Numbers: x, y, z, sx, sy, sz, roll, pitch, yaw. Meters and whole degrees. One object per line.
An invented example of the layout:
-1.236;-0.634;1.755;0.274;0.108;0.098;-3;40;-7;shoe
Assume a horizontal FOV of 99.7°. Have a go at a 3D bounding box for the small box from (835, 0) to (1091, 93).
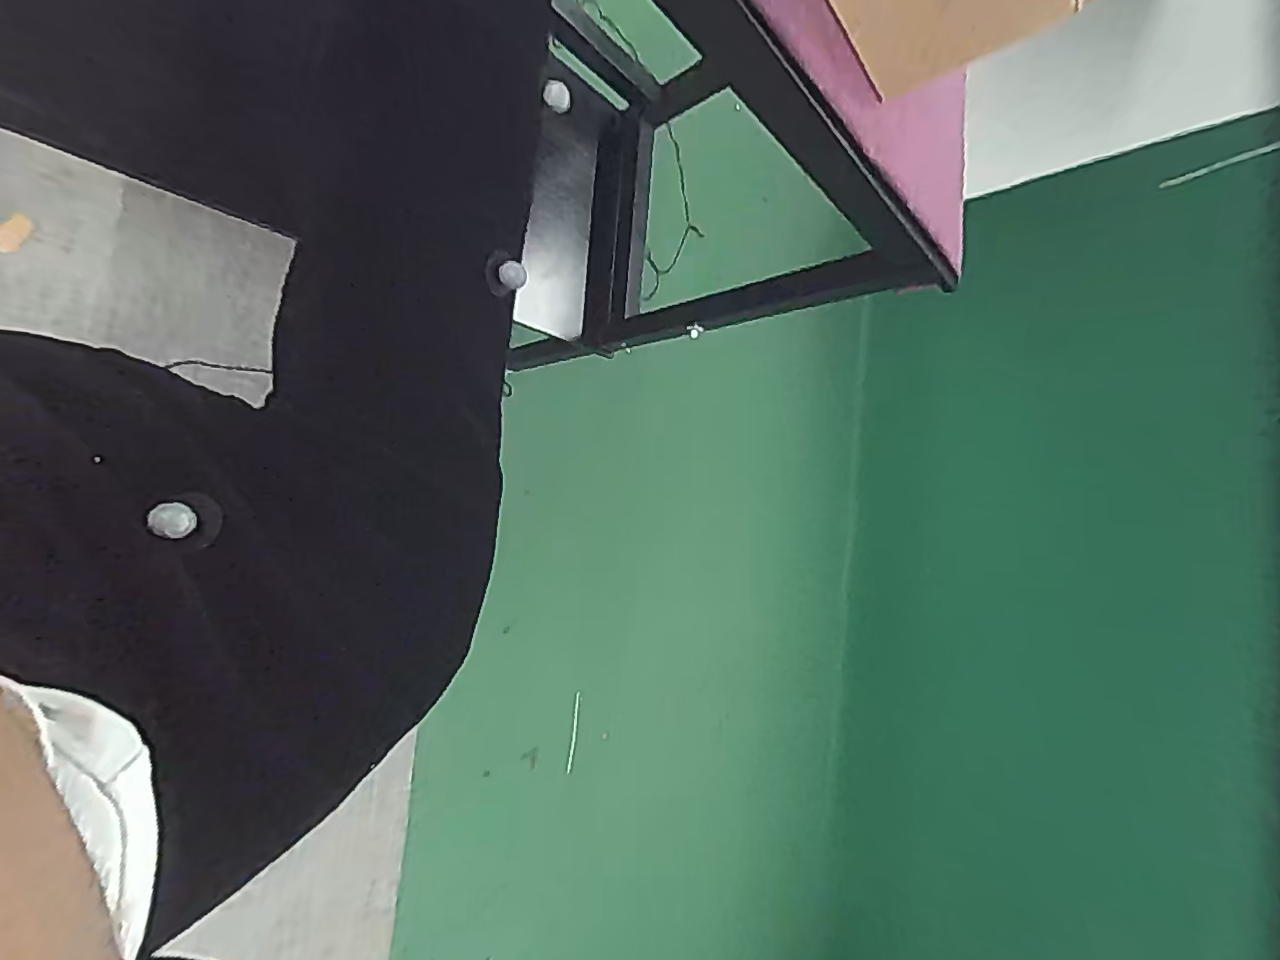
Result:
0.274;-0.492;0.469;0.179;0.176;0.168;15;81;-44;small box
